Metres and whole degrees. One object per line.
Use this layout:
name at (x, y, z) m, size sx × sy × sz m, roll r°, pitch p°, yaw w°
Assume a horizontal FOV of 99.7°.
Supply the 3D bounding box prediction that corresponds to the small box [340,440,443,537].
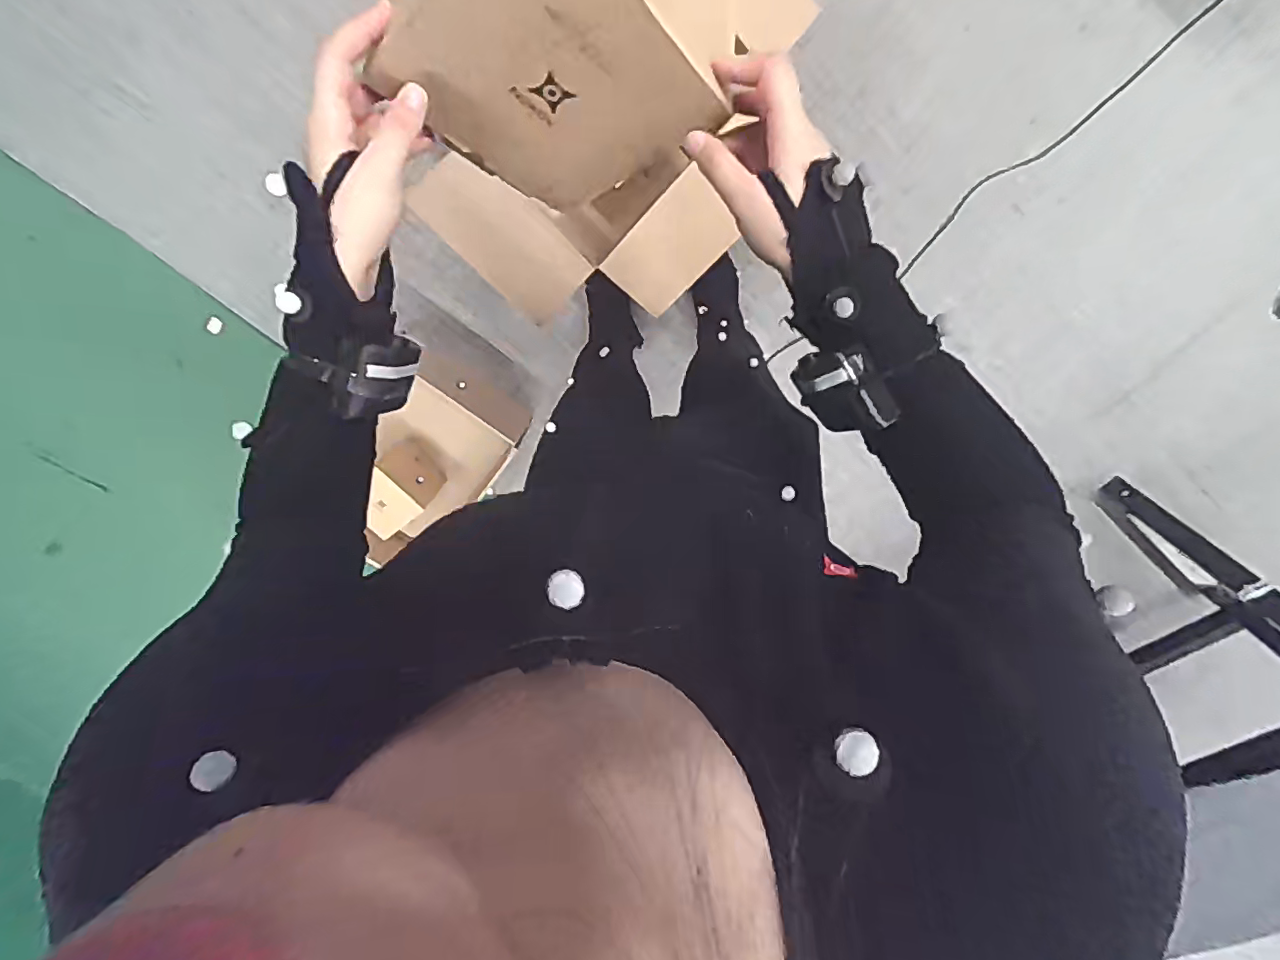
small box at (-0.674, 0.018, 1.497) m, size 0.179 × 0.176 × 0.168 m, roll -34°, pitch 111°, yaw 21°

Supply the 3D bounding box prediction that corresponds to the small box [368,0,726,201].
small box at (-0.053, -0.339, 0.363) m, size 0.179 × 0.176 × 0.168 m, roll -7°, pitch 166°, yaw 41°
